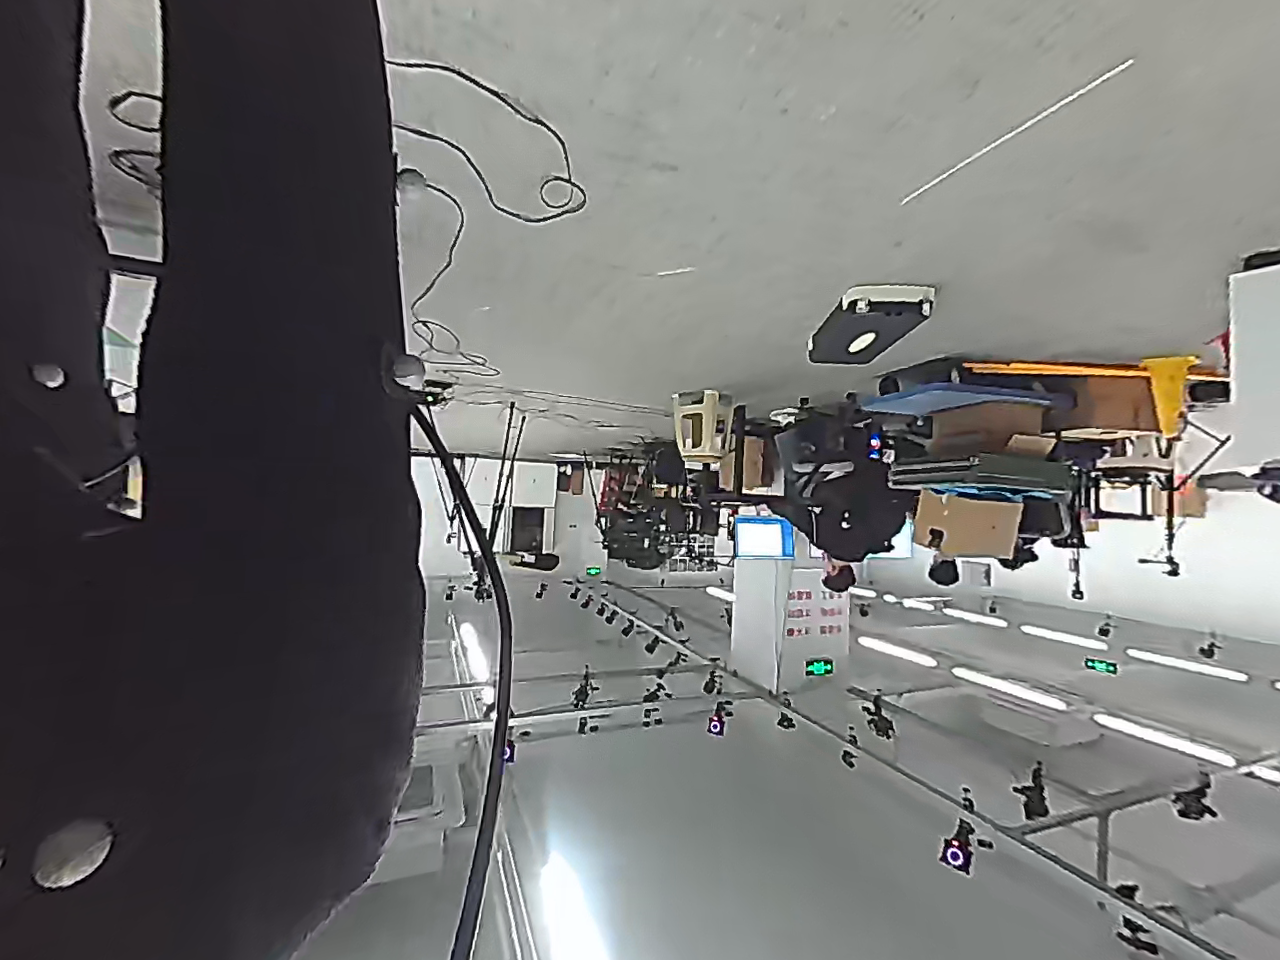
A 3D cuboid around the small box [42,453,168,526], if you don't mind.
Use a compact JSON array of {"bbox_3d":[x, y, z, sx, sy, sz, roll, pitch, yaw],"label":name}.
[{"bbox_3d":[-1.314,0.022,1.339,0.179,0.176,0.168,3,178,-19],"label":"small box"}]
